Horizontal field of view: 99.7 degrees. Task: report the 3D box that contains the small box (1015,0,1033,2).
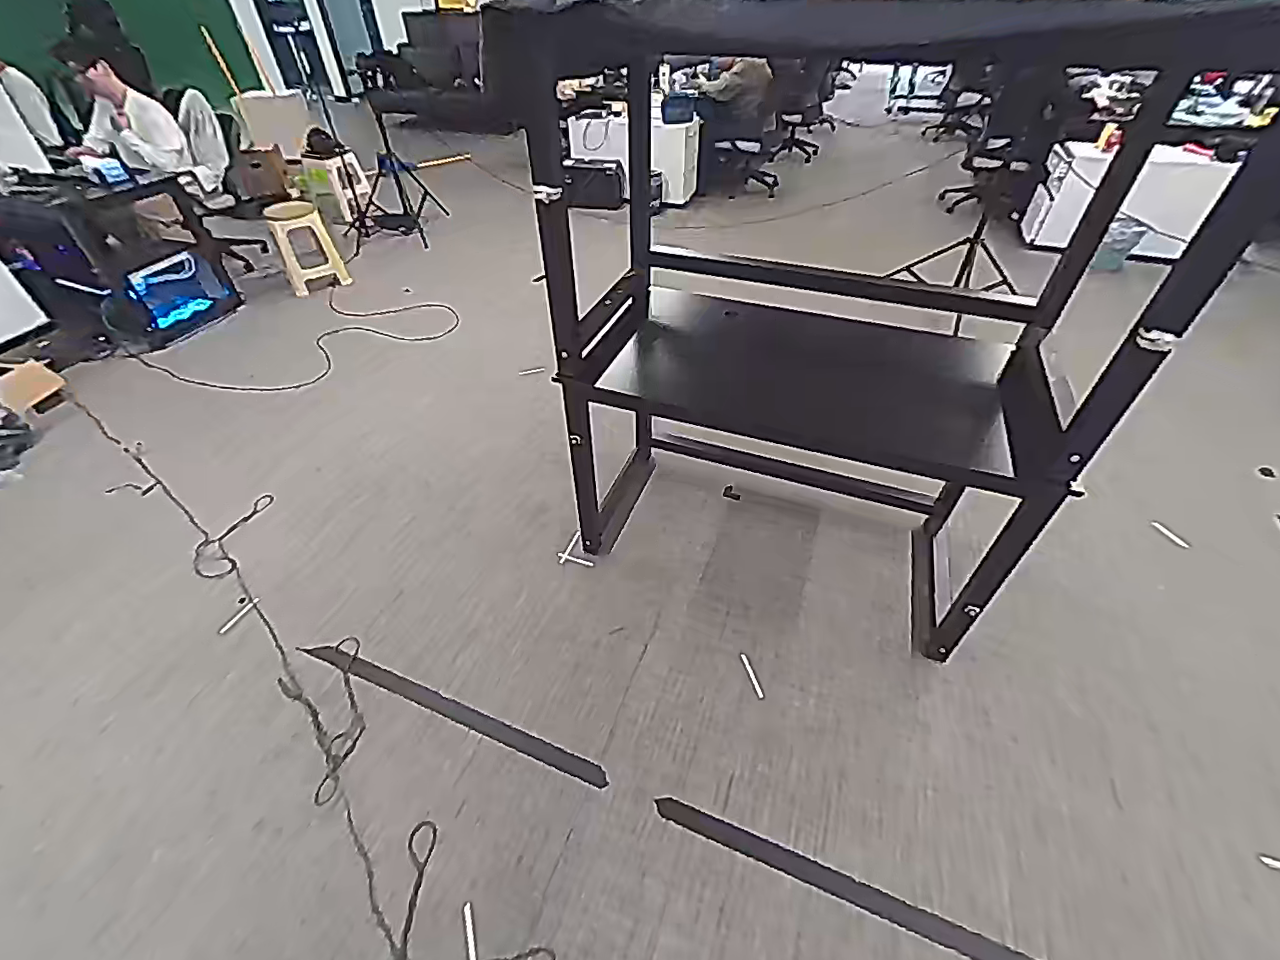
[{"bbox_3d":[0.606,-0.748,0.714,0.168,0.176,0.179,18,45,19],"label":"small box"}]
